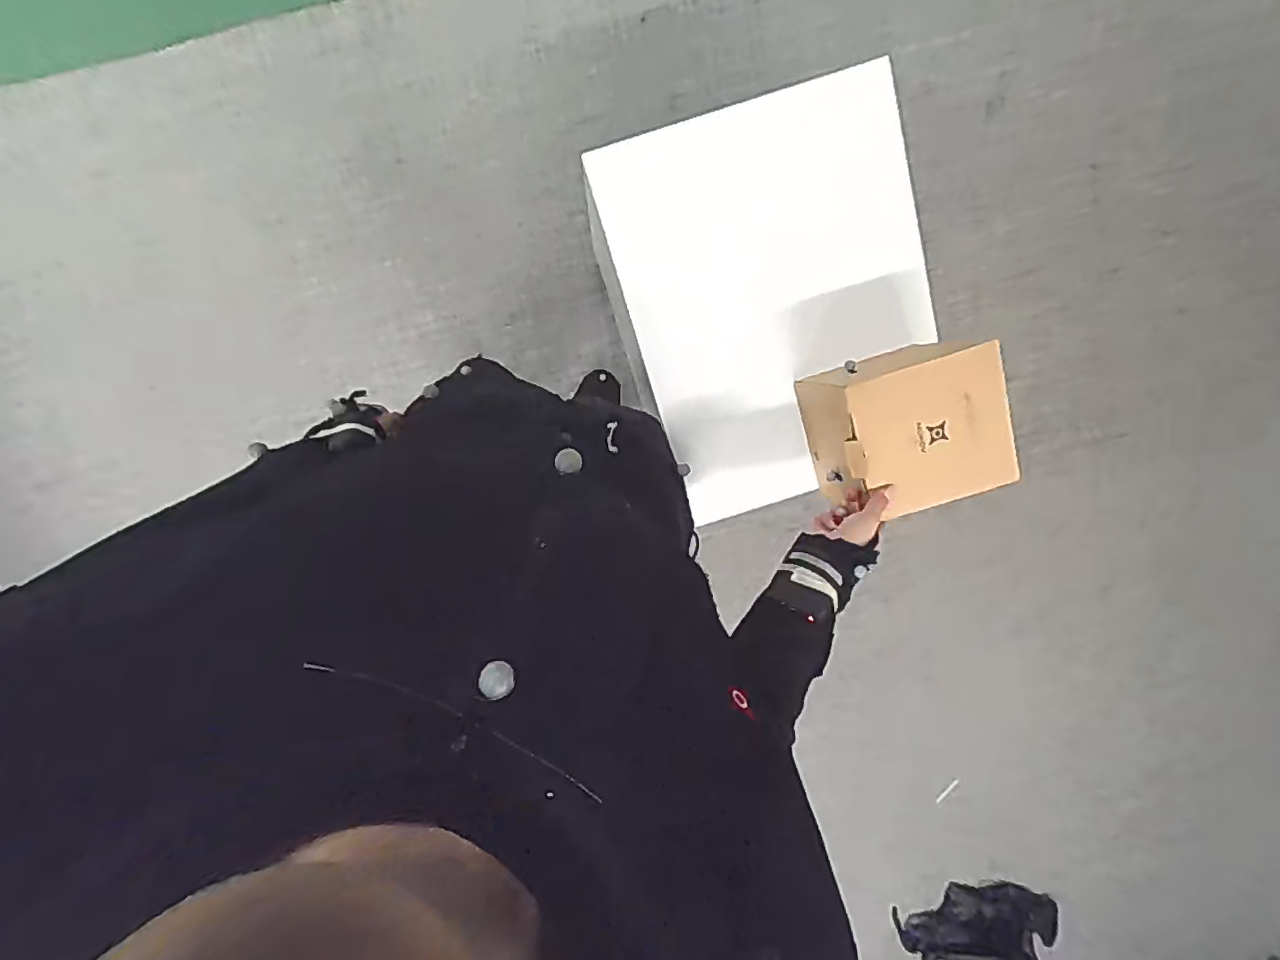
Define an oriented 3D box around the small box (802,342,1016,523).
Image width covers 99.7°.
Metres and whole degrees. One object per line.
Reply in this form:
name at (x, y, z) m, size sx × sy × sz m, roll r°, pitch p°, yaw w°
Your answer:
small box at (0.318, -0.066, 0.677) m, size 0.179 × 0.176 × 0.168 m, roll -18°, pitch 103°, yaw 0°
